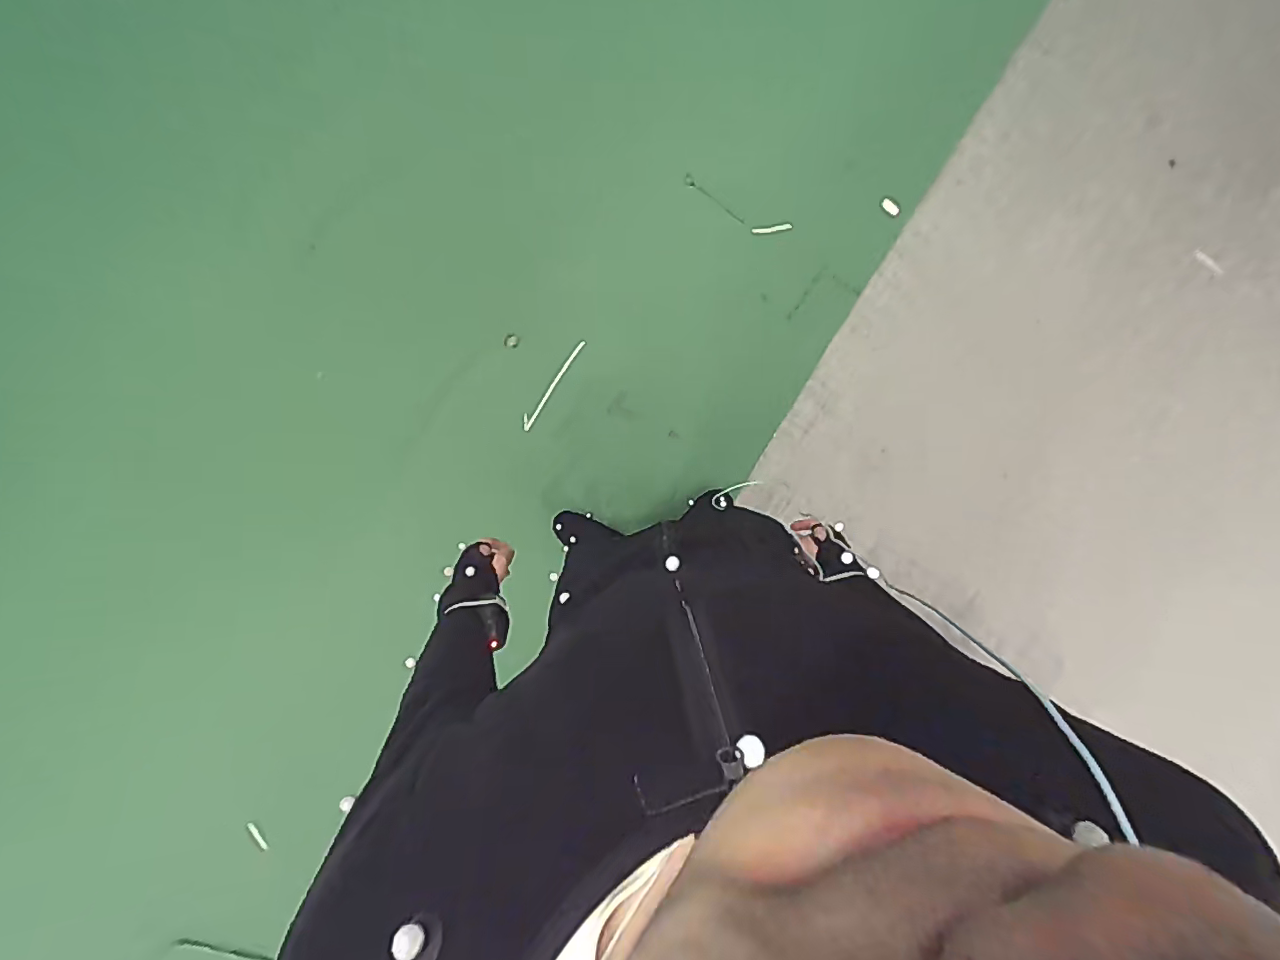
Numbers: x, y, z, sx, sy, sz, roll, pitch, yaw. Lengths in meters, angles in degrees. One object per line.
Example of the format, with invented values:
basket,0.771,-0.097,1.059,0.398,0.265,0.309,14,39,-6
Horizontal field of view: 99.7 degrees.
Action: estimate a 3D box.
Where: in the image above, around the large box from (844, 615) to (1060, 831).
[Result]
large box,0.853,0.661,1.534,0.320,0.320,0.408,30,89,-2
